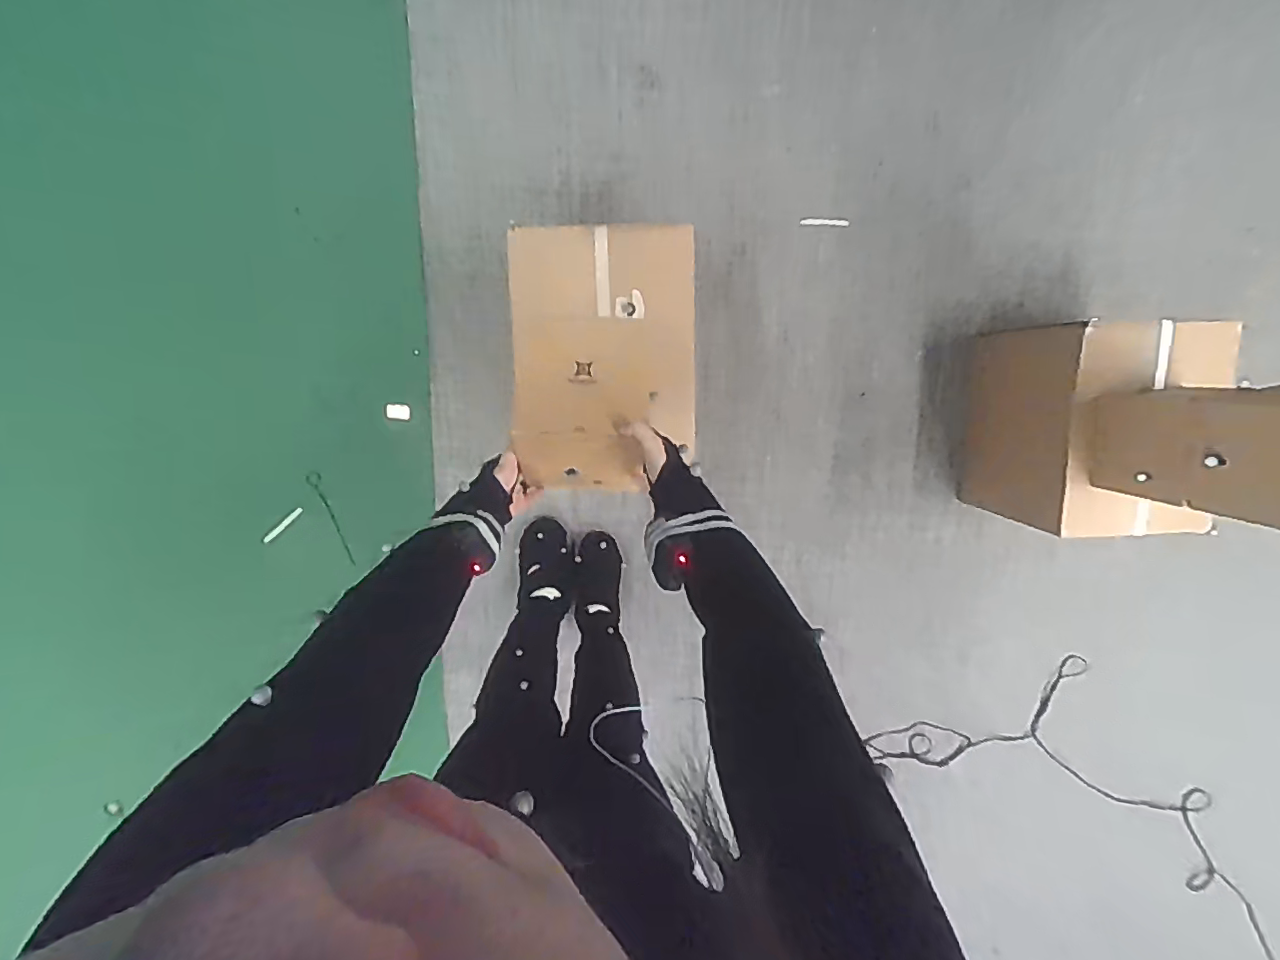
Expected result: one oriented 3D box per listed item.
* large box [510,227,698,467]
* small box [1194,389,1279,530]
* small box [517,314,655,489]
[{"bbox_3d":[-0.062,-0.246,1.075,0.320,0.320,0.408,-1,100,-3],"label":"large box"},{"bbox_3d":[0.946,-0.031,0.762,0.168,0.176,0.179,-10,102,0],"label":"small box"},{"bbox_3d":[-0.069,-0.101,0.745,0.168,0.176,0.179,2,67,-4],"label":"small box"}]
